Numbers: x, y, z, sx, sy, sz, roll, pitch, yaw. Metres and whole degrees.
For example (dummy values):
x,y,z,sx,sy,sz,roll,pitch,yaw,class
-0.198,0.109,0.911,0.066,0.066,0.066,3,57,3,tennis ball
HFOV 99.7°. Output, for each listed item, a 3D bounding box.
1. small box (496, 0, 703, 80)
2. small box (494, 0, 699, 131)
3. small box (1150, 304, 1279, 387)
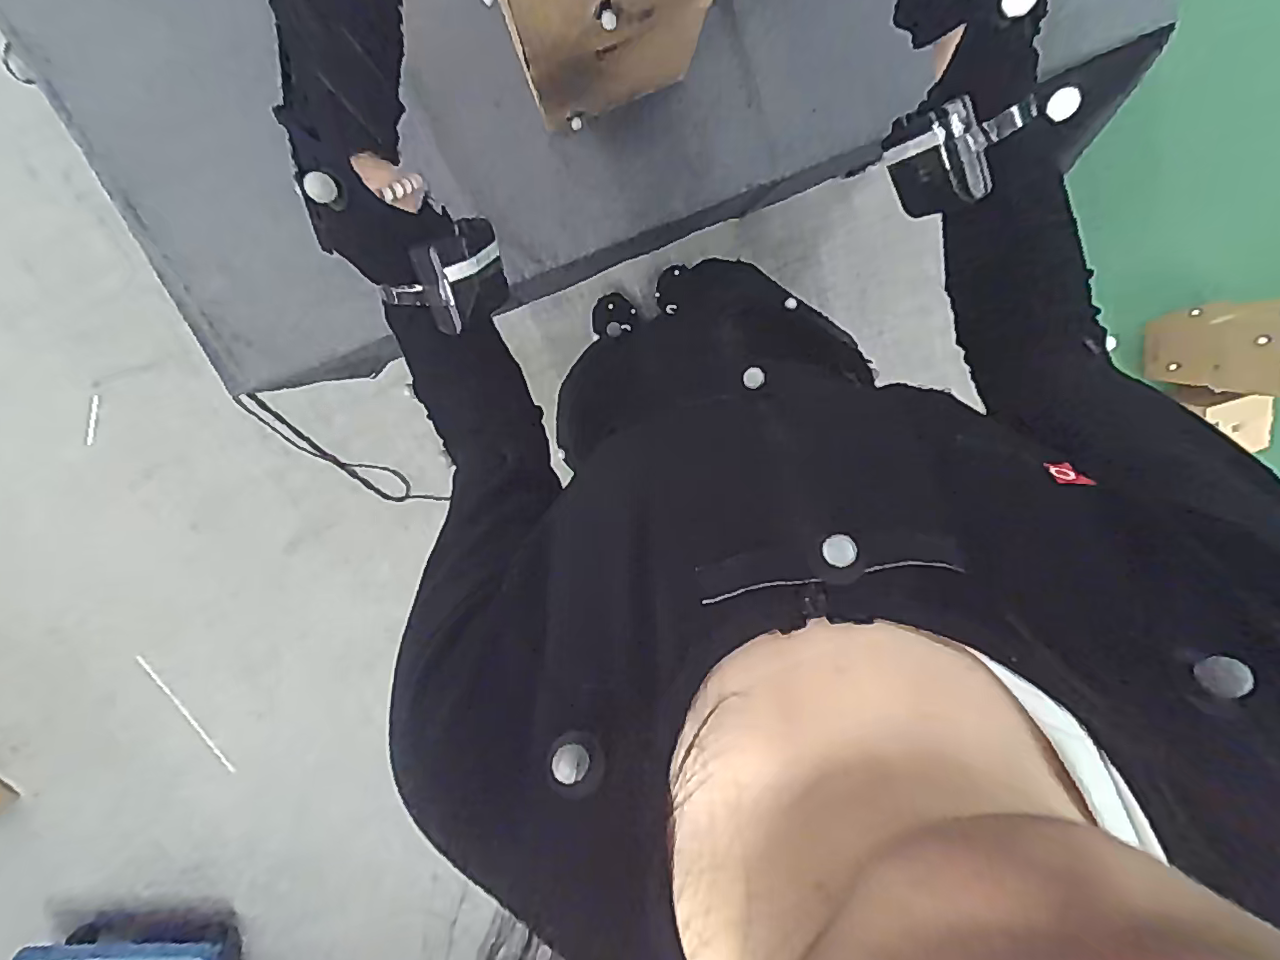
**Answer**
x,y,z,sx,sy,sz,roll,pitch,yaw,class
-0.044,-0.426,0.366,0.168,0.176,0.179,-21,107,3,small box
-0.055,-0.471,0.522,0.168,0.176,0.179,-21,106,3,small box
1.483,-0.349,1.405,0.179,0.176,0.168,-16,107,2,small box
